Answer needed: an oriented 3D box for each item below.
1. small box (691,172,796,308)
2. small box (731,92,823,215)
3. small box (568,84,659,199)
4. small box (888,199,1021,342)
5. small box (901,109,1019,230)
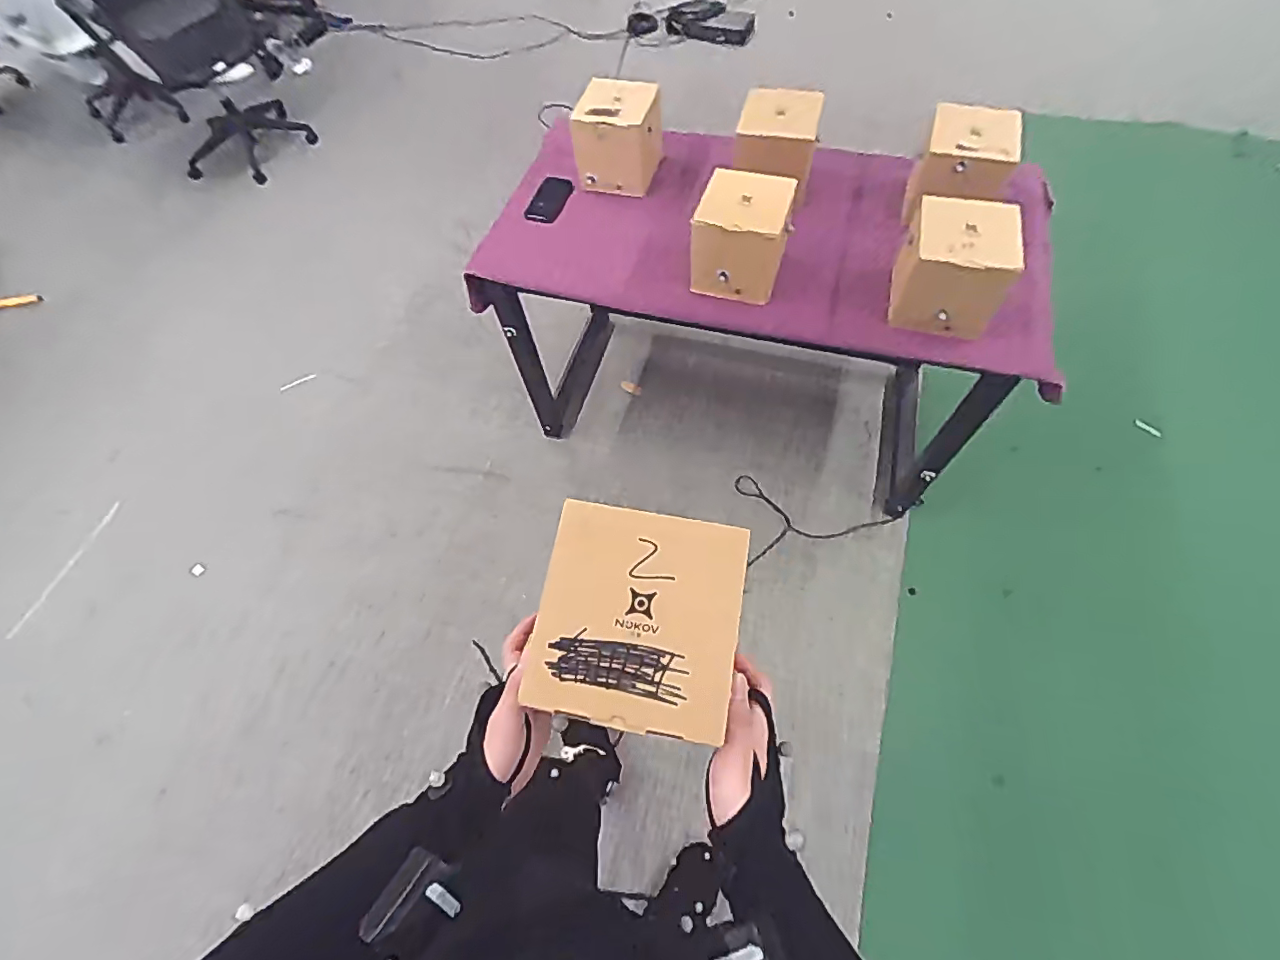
[{"bbox_3d":[0.202,-0.484,1.096,0.168,0.176,0.179,15,63,12],"label":"small box"},{"bbox_3d":[0.304,-0.740,1.231,0.168,0.176,0.179,13,64,12],"label":"small box"},{"bbox_3d":[-0.052,-0.801,1.287,0.168,0.176,0.179,13,63,11],"label":"small box"},{"bbox_3d":[0.580,-0.390,1.013,0.168,0.176,0.179,12,63,12],"label":"small box"},{"bbox_3d":[0.674,-0.650,1.153,0.168,0.176,0.179,14,63,13],"label":"small box"}]
